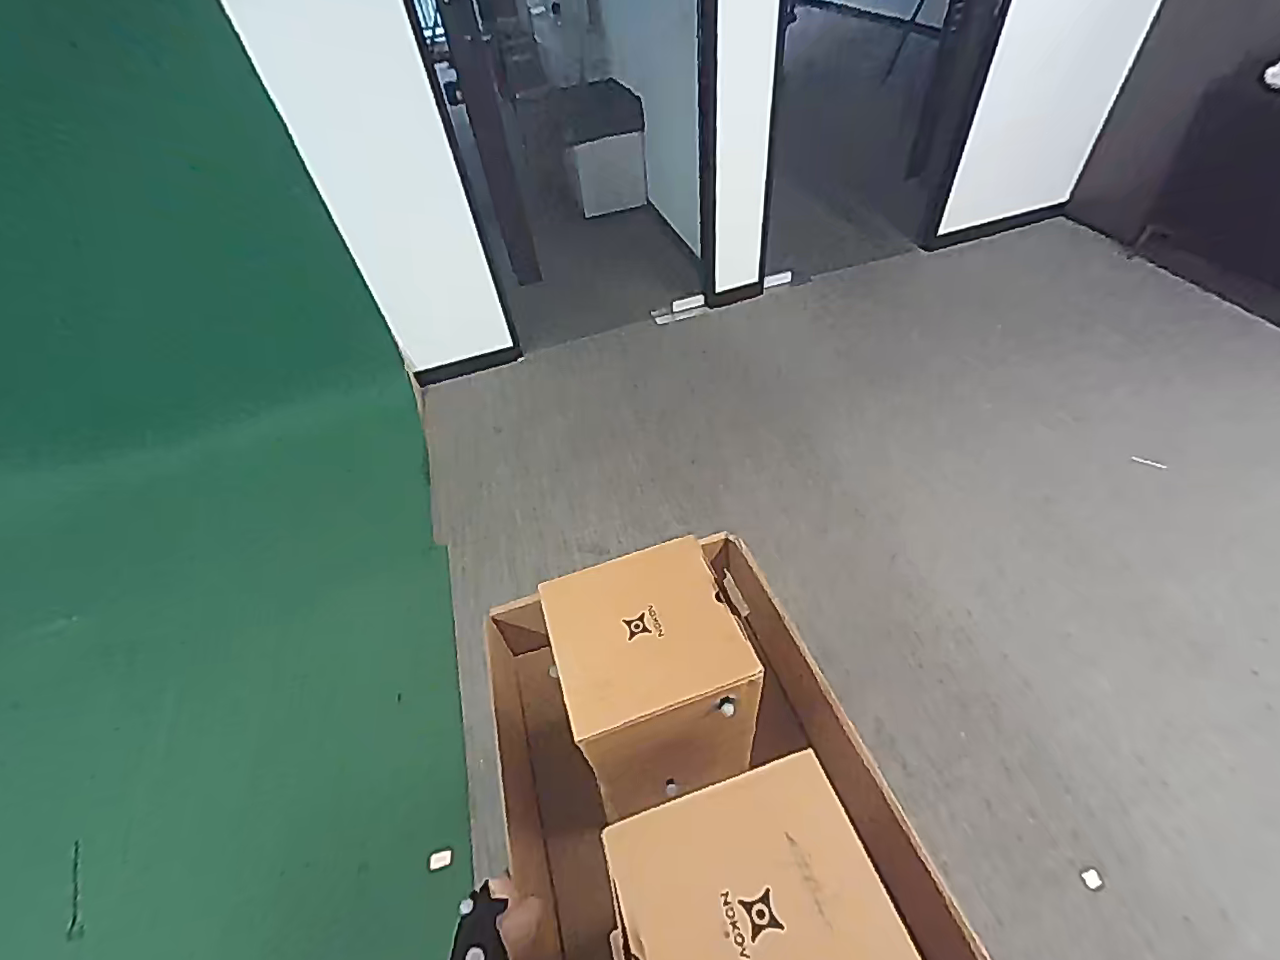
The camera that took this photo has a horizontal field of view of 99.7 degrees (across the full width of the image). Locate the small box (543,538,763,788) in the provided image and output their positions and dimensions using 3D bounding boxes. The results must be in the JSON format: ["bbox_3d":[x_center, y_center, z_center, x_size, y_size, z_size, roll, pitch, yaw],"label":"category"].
[{"bbox_3d":[0.013,0.196,0.574,0.179,0.176,0.168,-17,47,-10],"label":"small box"}]

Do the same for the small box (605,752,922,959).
[{"bbox_3d":[0.088,0.346,0.413,0.179,0.176,0.168,-17,46,-8],"label":"small box"}]
